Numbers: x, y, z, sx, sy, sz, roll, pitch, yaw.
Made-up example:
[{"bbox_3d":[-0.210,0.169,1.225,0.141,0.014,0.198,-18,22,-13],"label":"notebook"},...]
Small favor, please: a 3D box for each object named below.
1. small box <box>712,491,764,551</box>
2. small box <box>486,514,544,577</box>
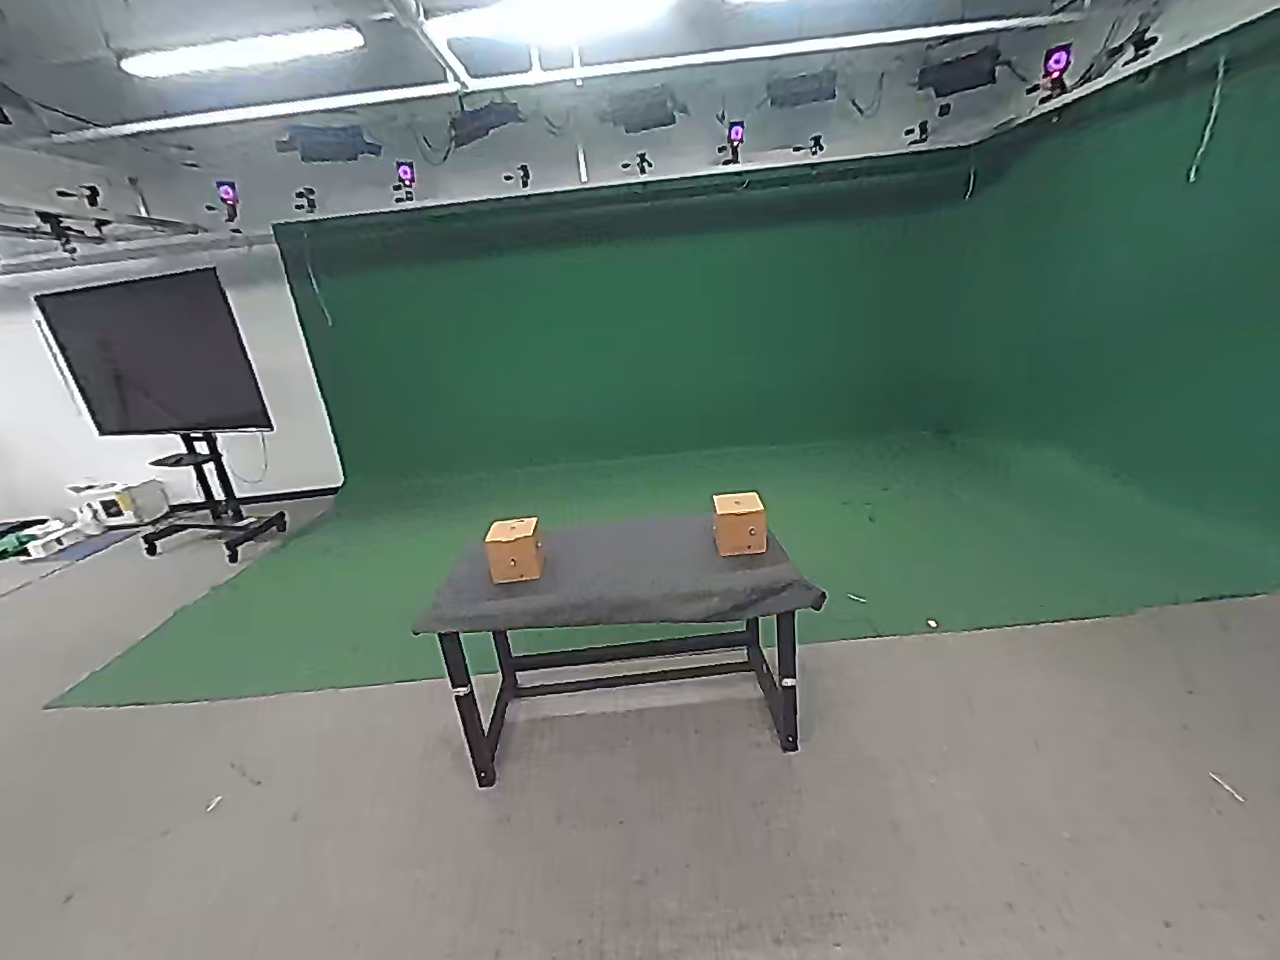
[{"bbox_3d":[0.357,0.155,1.975,0.168,0.176,0.179,-4,19,2],"label":"small box"},{"bbox_3d":[-0.446,0.242,1.959,0.168,0.176,0.179,-6,20,-2],"label":"small box"}]
